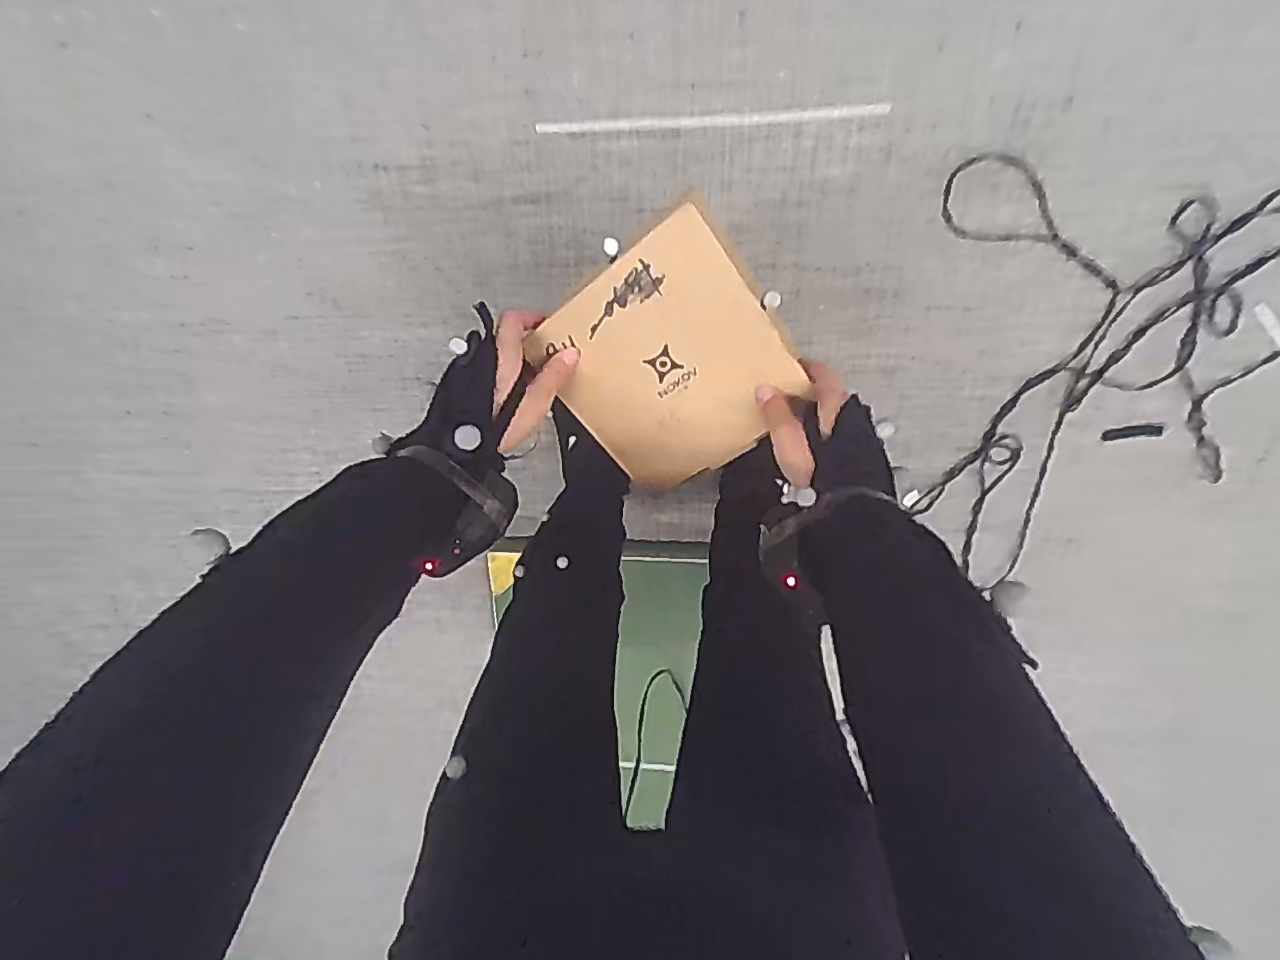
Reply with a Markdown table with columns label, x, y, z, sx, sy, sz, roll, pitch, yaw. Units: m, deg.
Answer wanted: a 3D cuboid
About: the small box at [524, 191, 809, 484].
| label | x | y | z | sx | sy | sz | roll | pitch | yaw |
| --- | --- | --- | --- | --- | --- | --- | --- | --- | --- |
| small box | 0.030 | -0.135 | 0.496 | 0.168 | 0.176 | 0.179 | -32 | 113 | 23 |
